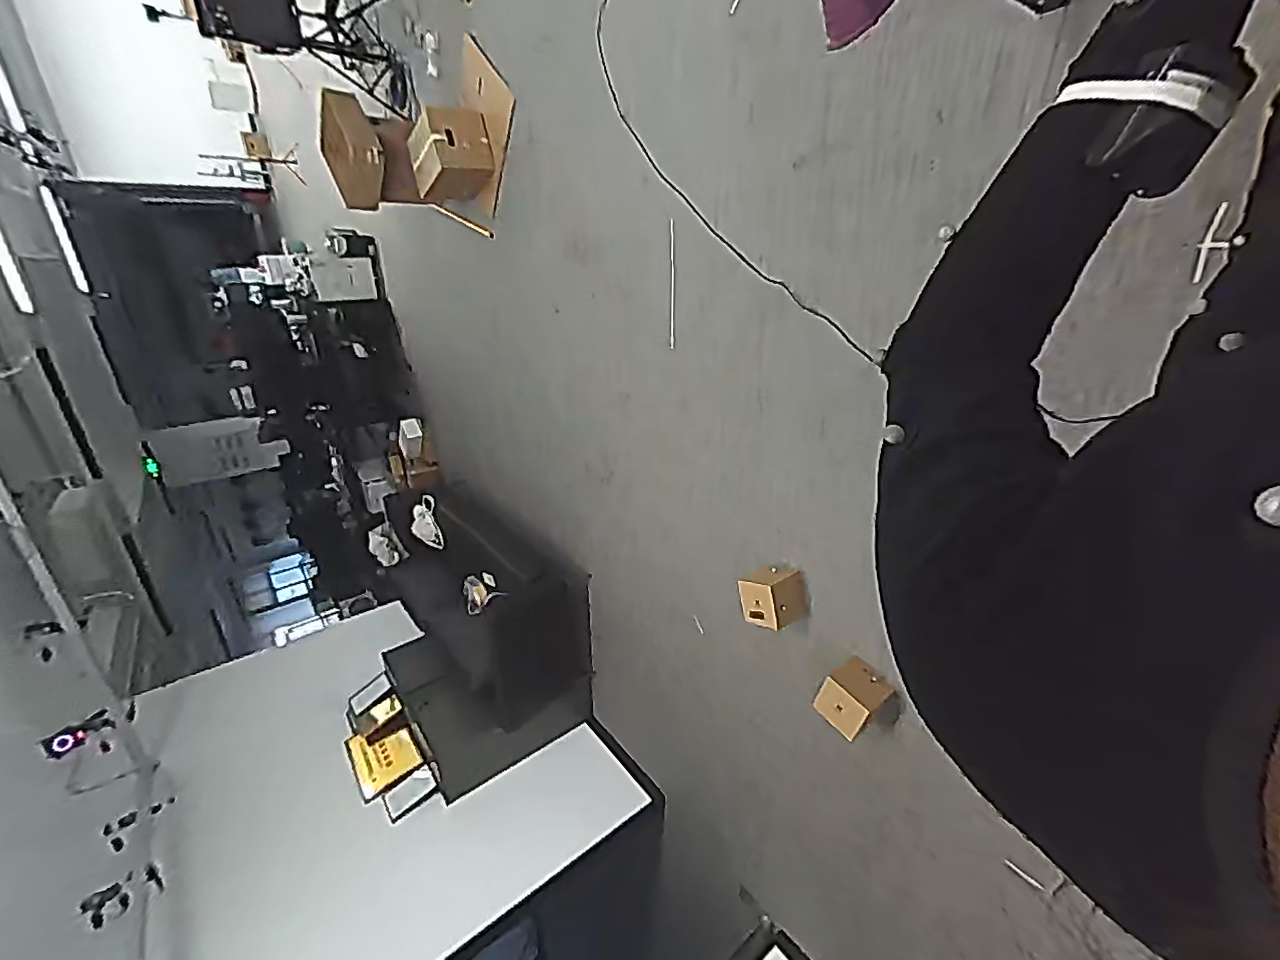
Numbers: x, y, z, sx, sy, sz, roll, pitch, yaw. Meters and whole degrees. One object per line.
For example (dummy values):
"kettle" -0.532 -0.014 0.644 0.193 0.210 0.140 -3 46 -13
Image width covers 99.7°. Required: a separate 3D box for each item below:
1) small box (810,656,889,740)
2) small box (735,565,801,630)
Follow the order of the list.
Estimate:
"small box" 0.728 0.751 1.872 0.168 0.176 0.179 40 134 38
"small box" 0.492 0.441 2.063 0.168 0.176 0.179 0 104 54
